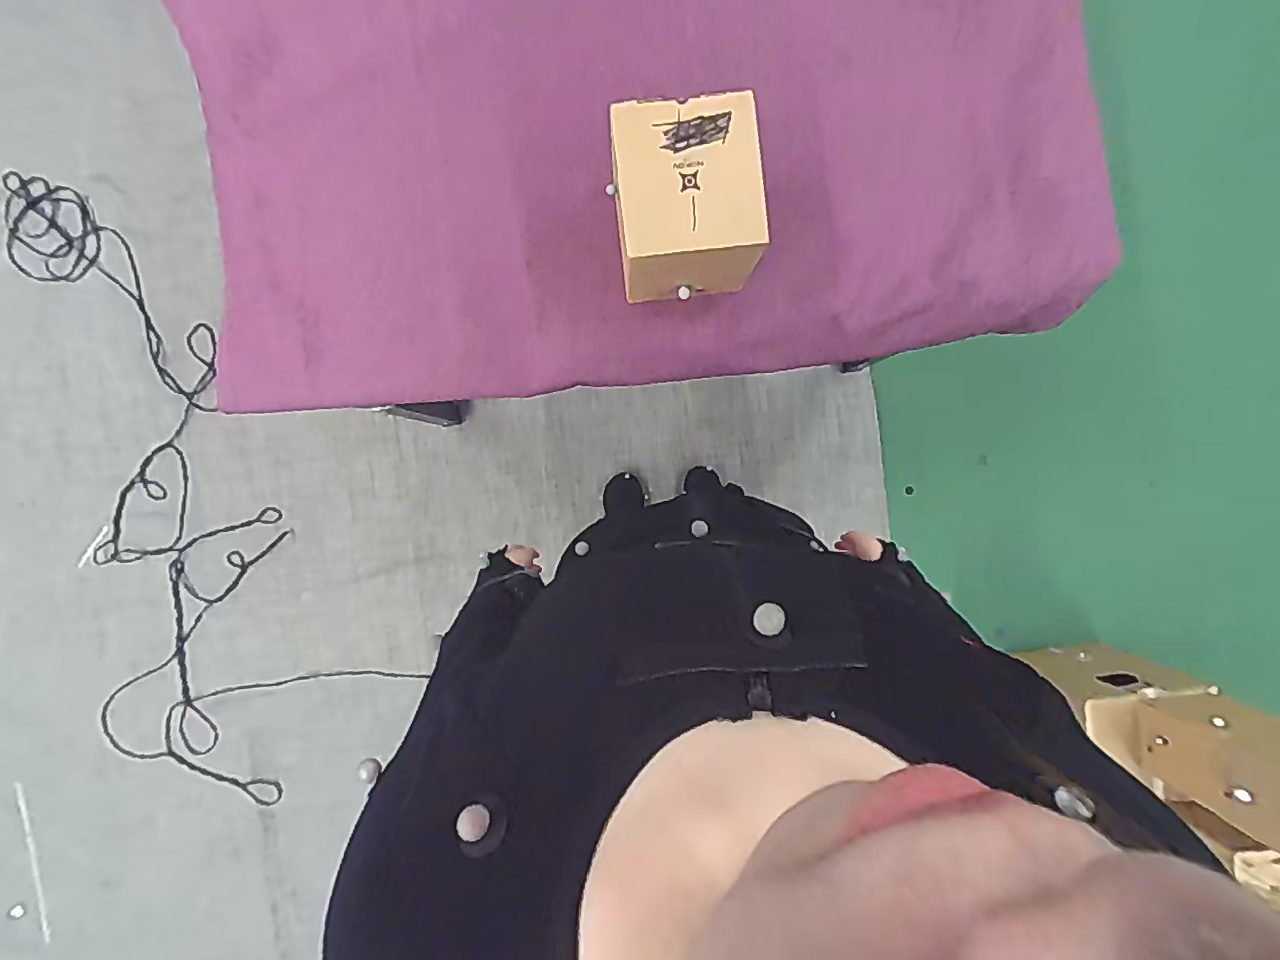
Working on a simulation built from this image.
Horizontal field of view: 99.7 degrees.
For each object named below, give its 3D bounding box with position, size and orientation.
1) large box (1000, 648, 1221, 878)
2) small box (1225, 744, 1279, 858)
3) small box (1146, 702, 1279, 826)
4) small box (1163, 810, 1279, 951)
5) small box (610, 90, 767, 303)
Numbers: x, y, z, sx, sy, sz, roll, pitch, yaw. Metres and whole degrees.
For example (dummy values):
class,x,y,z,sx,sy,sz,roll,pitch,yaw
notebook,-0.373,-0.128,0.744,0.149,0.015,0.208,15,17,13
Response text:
class,x,y,z,sx,sy,sz,roll,pitch,yaw
large box,1.178,0.688,1.372,0.320,0.320,0.408,-6,92,0
small box,1.220,0.588,0.963,0.179,0.176,0.168,-7,91,0
small box,1.220,0.582,1.128,0.179,0.176,0.168,-6,92,-1
small box,1.251,0.828,1.130,0.168,0.176,0.179,-1,91,-1
small box,0.052,-0.342,0.682,0.168,0.176,0.179,-6,91,0
